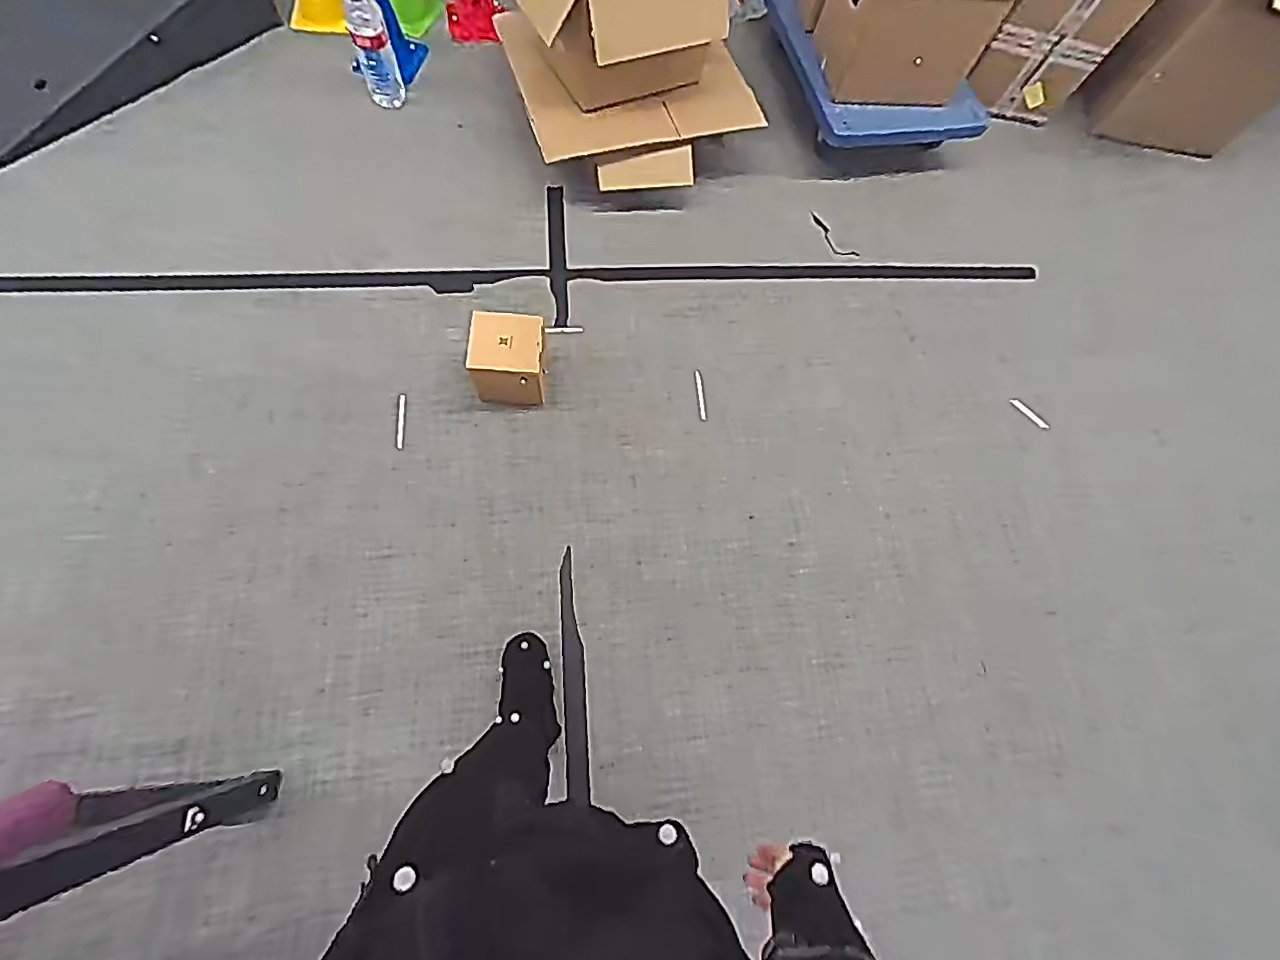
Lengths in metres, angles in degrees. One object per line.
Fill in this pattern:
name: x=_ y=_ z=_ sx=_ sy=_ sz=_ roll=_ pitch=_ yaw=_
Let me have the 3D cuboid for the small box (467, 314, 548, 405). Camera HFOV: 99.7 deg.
small box: x=-0.333 y=-0.304 z=1.391 sx=0.179 sy=0.176 sz=0.168 roll=3 pitch=70 yaw=-7
